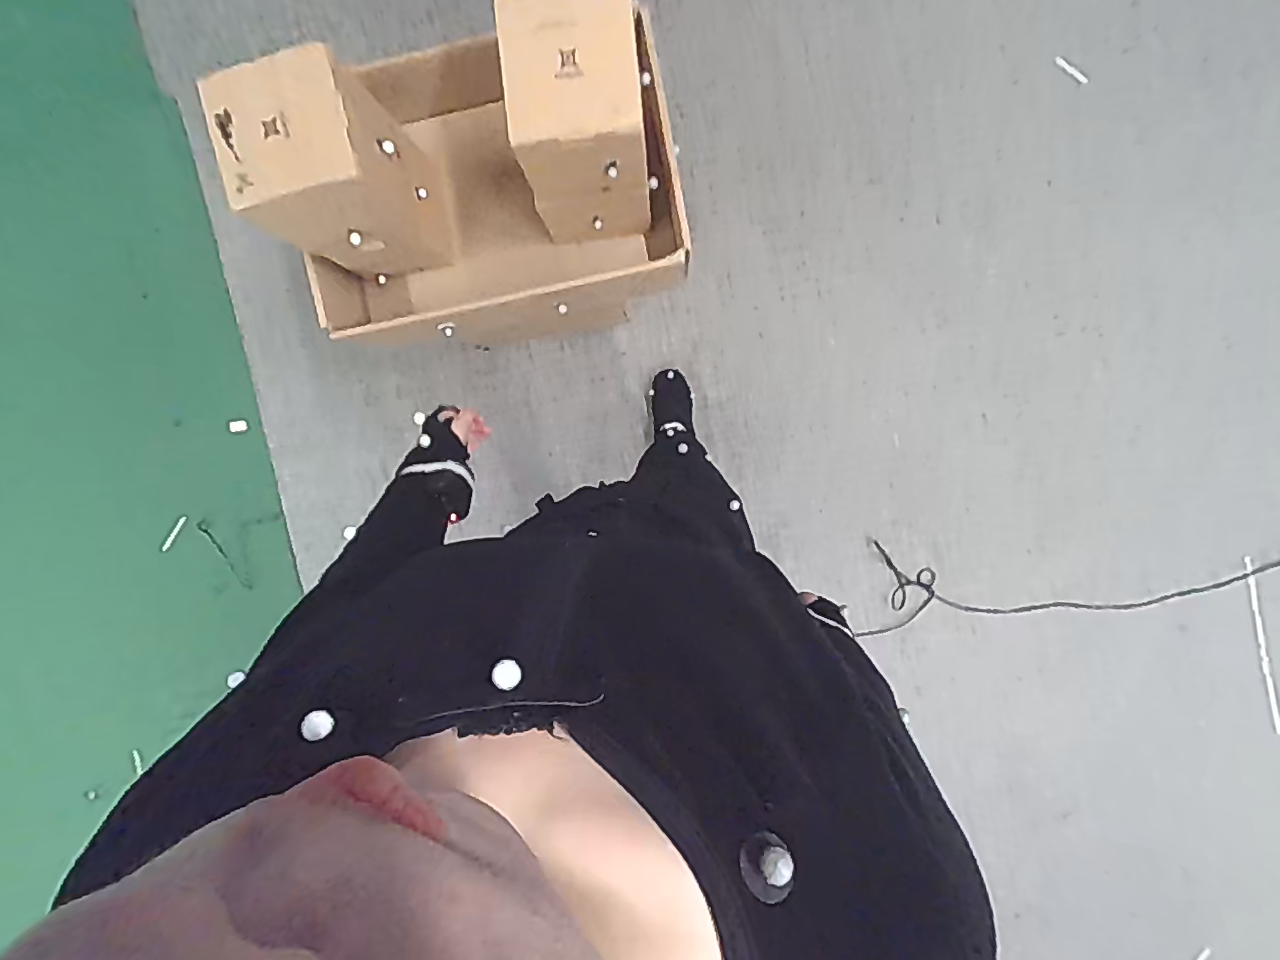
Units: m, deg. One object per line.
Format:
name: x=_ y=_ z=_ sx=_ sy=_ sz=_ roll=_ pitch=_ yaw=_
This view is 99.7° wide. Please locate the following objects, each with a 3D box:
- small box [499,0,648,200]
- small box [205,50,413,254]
small box: x=-0.079 y=-0.499 z=0.729 sx=0.168 sy=0.176 sz=0.179 roll=-5 pitch=92 yaw=3
small box: x=-0.440 y=-0.441 z=0.755 sx=0.179 sy=0.176 sz=0.168 roll=-12 pitch=93 yaw=4
